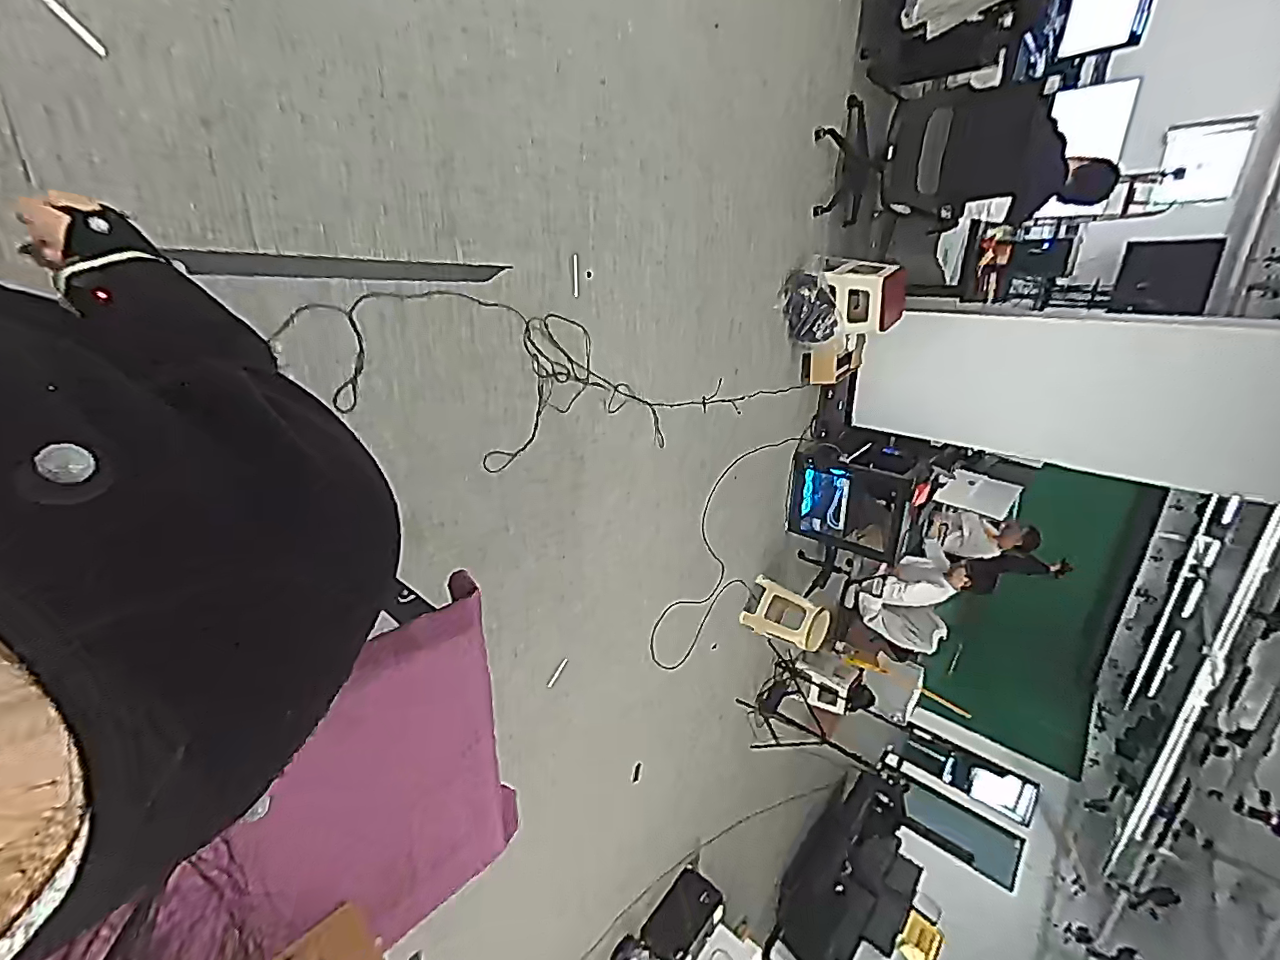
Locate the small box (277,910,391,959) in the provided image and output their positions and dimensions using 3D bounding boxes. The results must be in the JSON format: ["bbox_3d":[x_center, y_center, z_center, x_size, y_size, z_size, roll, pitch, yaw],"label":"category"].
[{"bbox_3d":[-0.494,0.849,0.867,0.168,0.176,0.179,-22,118,-44],"label":"small box"}]
